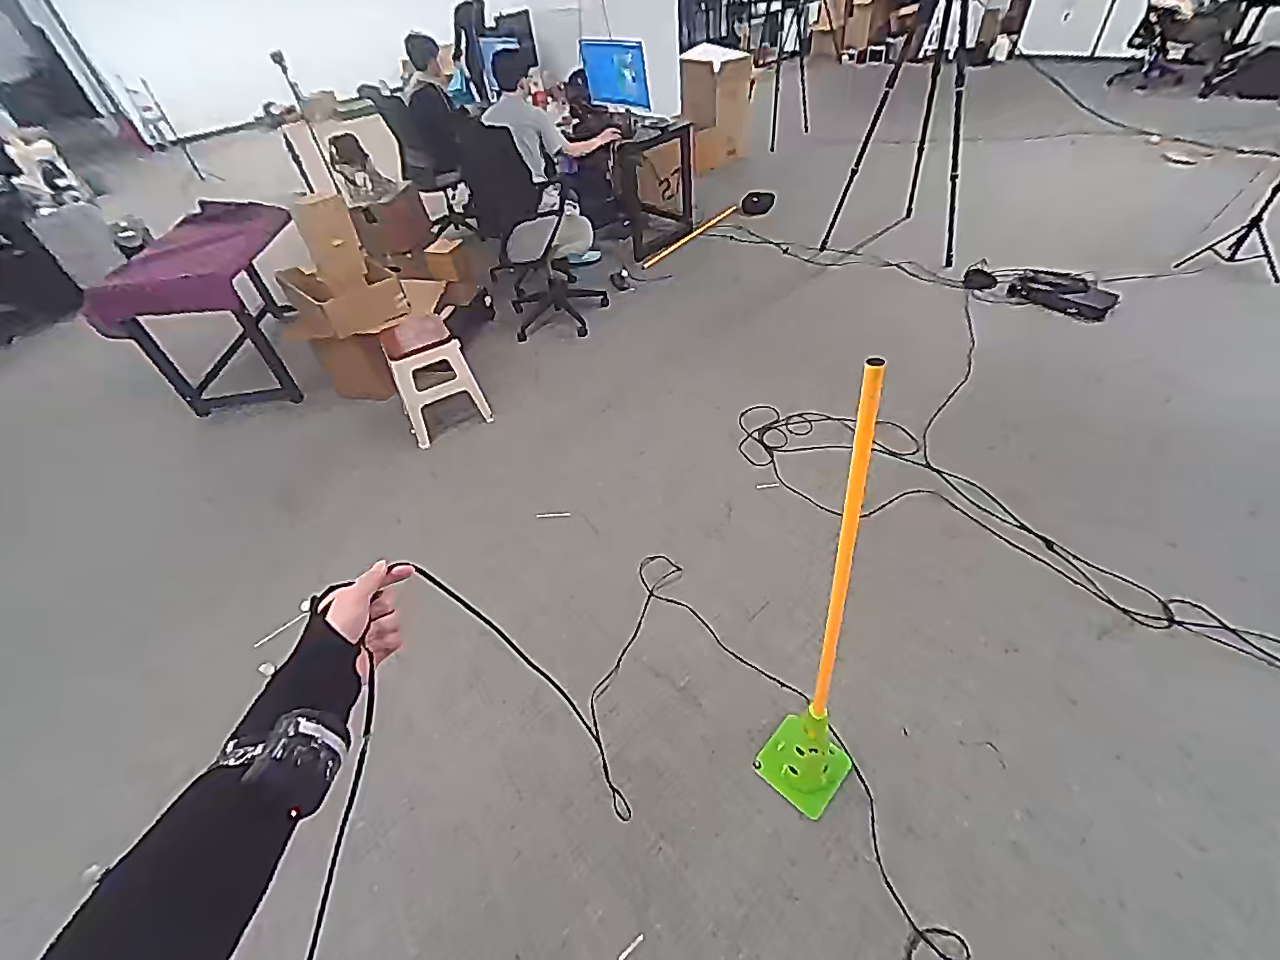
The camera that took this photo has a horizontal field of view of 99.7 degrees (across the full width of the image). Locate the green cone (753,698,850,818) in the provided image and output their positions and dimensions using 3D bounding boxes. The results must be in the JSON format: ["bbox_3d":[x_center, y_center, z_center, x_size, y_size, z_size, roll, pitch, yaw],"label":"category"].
[{"bbox_3d":[0.420,0.640,1.333,0.200,0.368,0.202,31,55,32],"label":"green cone"}]
